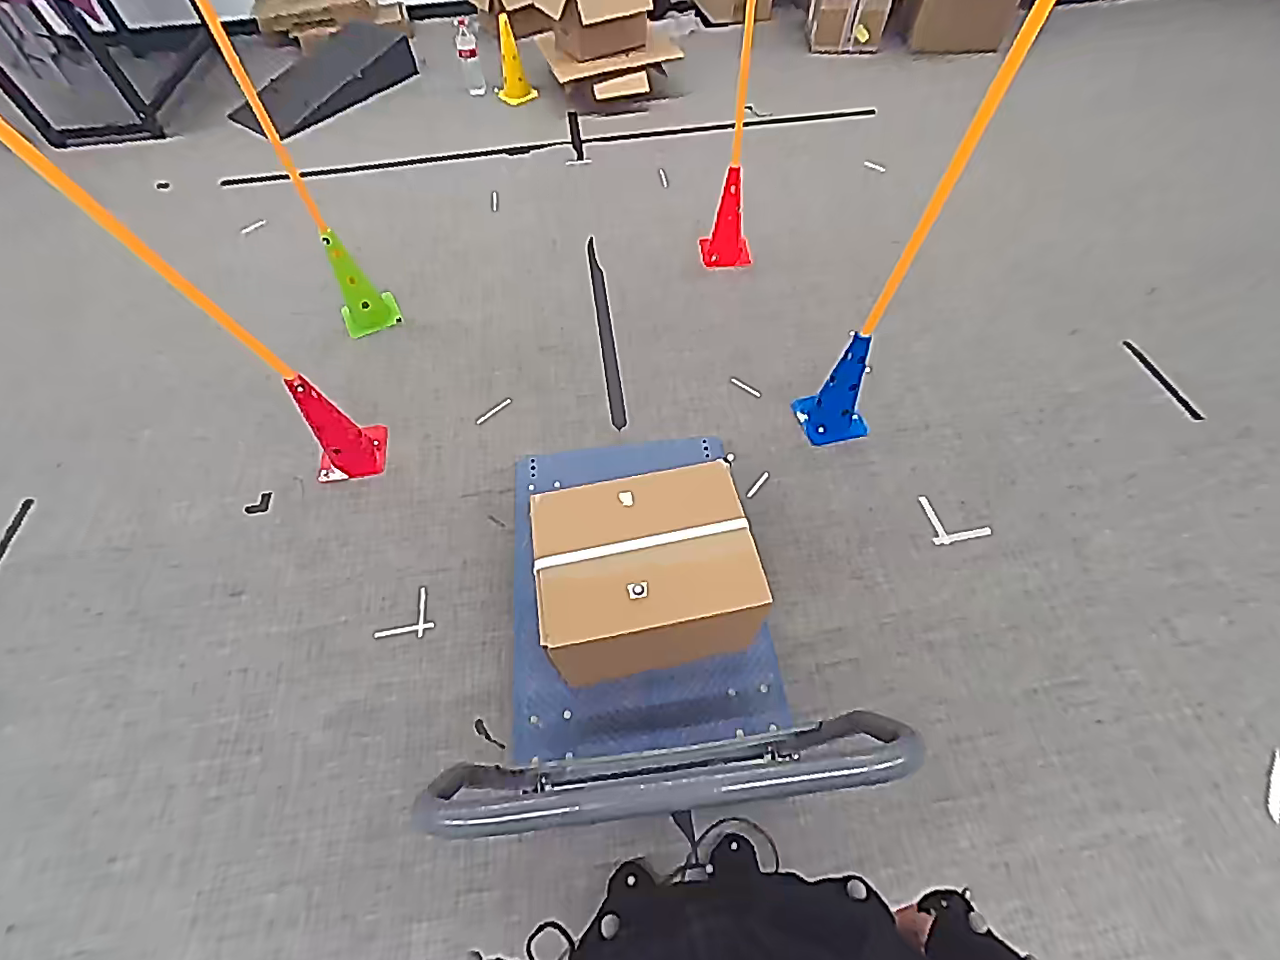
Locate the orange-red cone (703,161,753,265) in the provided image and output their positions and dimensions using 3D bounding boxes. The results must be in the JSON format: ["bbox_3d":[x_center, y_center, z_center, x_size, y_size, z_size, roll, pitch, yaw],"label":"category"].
[{"bbox_3d":[0.360,-1.046,2.094,0.199,0.360,0.198,-2,58,-1],"label":"orange-red cone"}]

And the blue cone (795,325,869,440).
[{"bbox_3d":[0.620,-0.304,1.634,0.193,0.380,0.192,-11,57,-6],"label":"blue cone"}]
